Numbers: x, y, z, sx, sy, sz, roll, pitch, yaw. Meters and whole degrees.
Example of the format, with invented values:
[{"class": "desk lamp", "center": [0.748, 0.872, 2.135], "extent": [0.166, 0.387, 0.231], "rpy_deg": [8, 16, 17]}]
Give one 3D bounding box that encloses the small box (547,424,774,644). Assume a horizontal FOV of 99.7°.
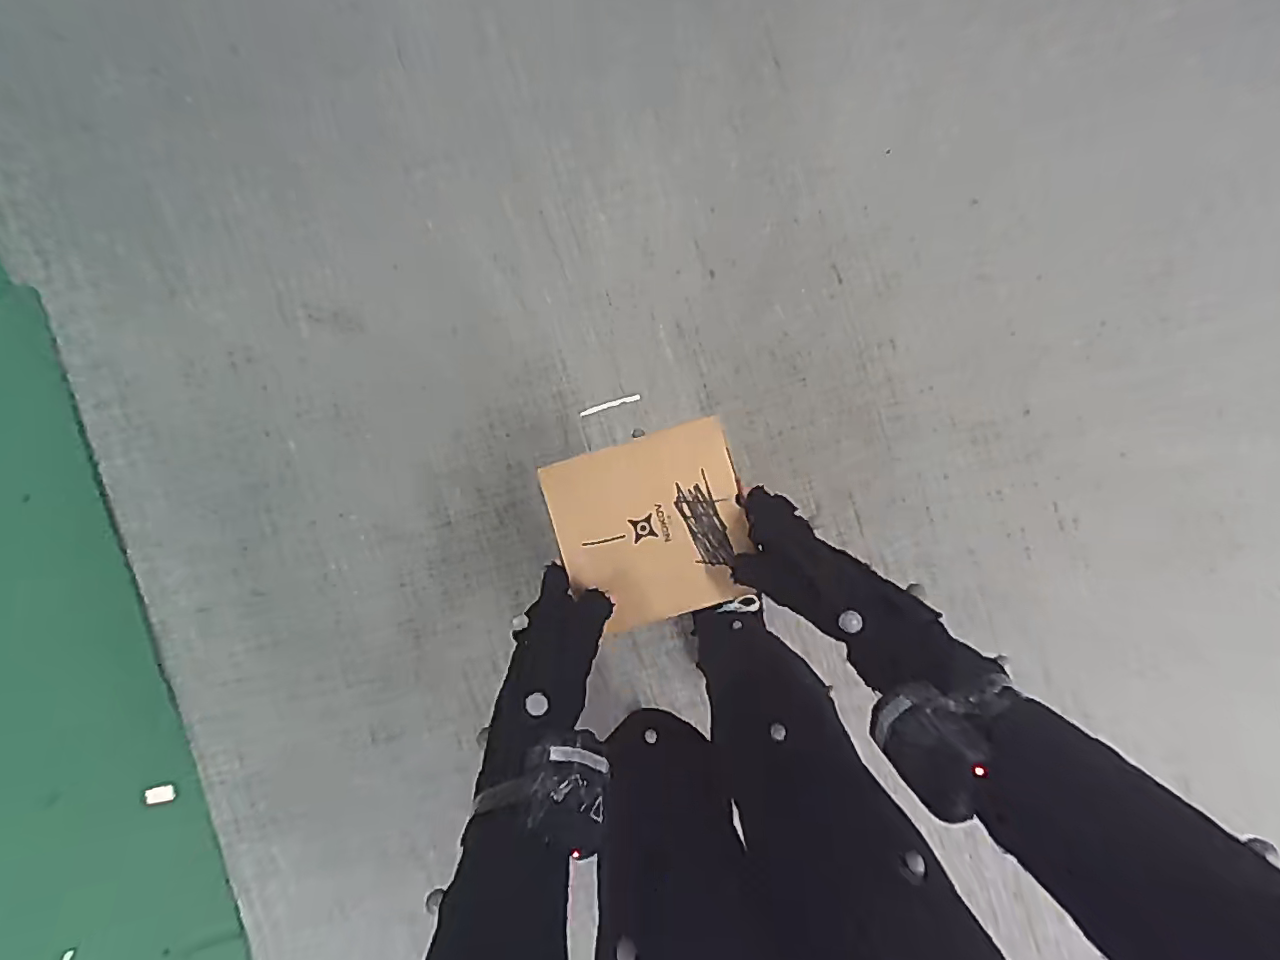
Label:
[{"class": "small box", "center": [0.018, 0.052, 0.585], "extent": [0.179, 0.176, 0.168], "rpy_deg": [-20, 87, 0]}]
